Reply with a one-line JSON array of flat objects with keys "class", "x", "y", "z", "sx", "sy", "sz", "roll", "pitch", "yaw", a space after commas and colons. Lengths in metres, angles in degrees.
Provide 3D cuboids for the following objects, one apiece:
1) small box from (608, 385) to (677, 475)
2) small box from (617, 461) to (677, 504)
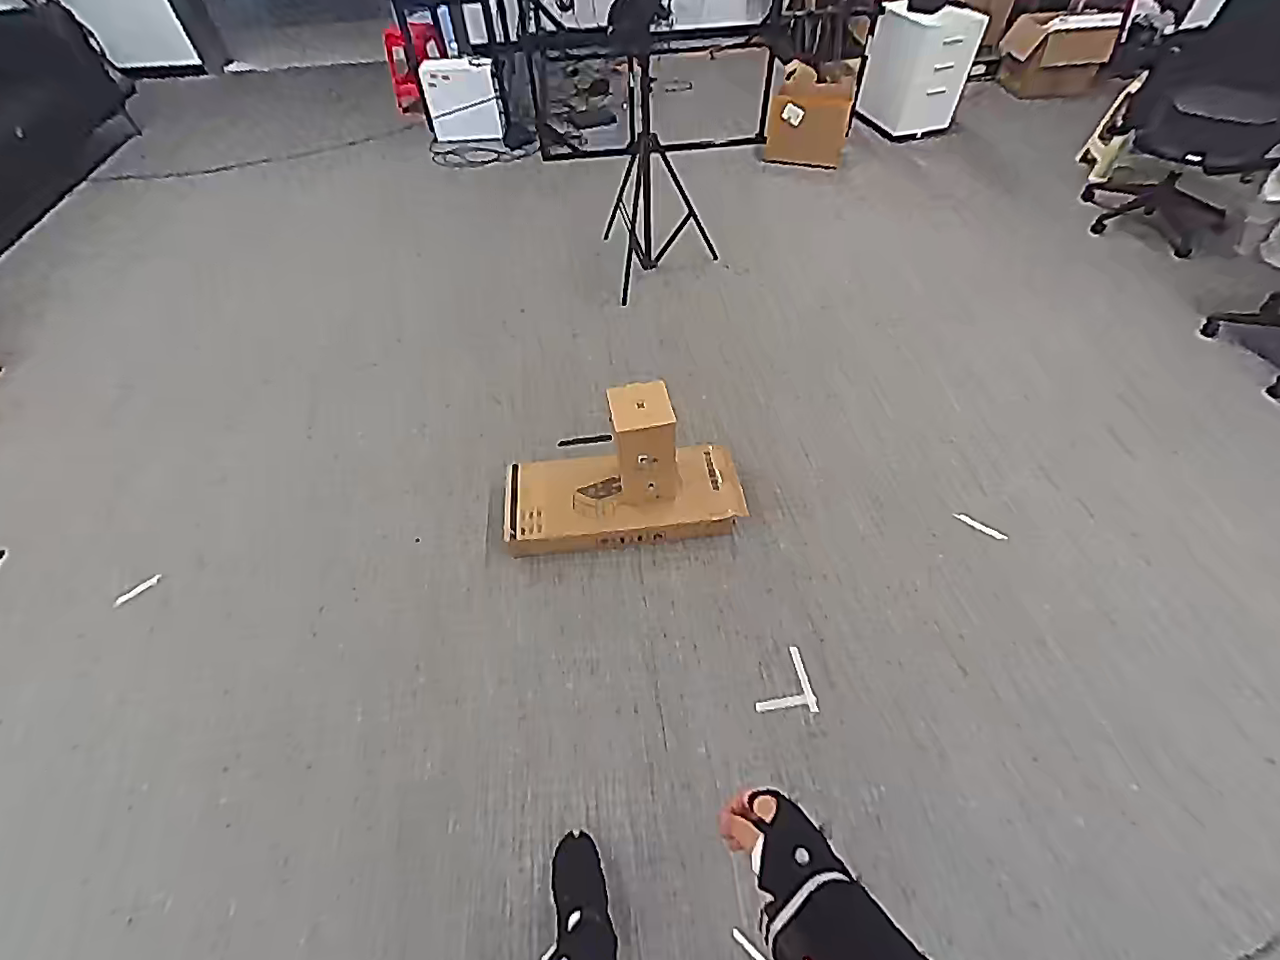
[{"class": "small box", "x": 0.005, "y": -0.141, "z": 1.529, "sx": 0.168, "sy": 0.176, "sz": 0.179, "roll": -11, "pitch": 52, "yaw": -6}, {"class": "small box", "x": 0.017, "y": -0.040, "z": 1.657, "sx": 0.168, "sy": 0.176, "sz": 0.179, "roll": -8, "pitch": 52, "yaw": -5}]
